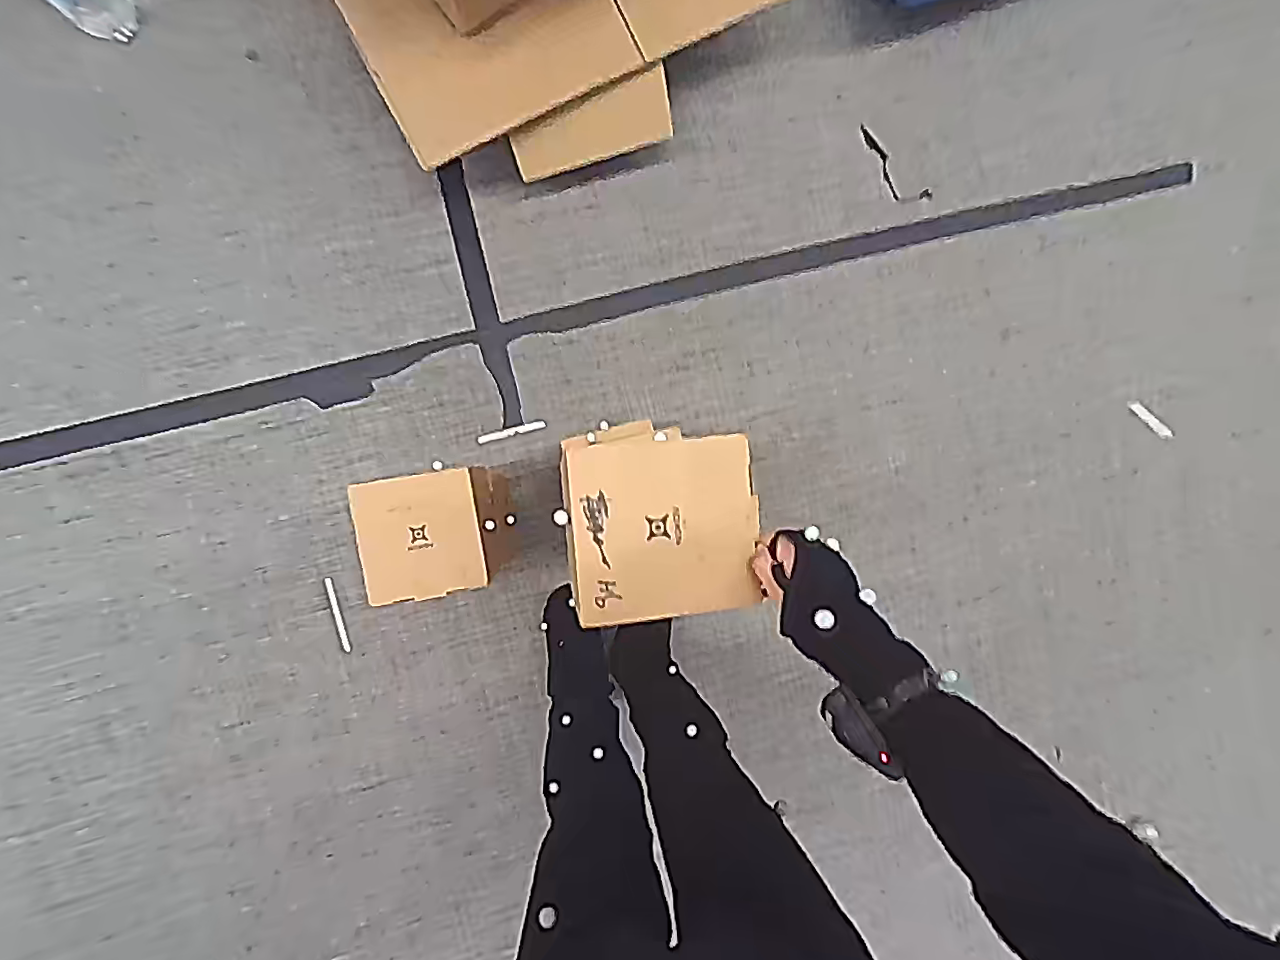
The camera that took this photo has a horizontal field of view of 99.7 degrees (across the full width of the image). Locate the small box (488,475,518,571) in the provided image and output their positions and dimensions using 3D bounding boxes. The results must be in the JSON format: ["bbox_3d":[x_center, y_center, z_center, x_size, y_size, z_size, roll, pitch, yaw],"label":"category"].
[{"bbox_3d":[-0.331,0.082,0.992,0.179,0.176,0.168,-8,93,-6],"label":"small box"}]

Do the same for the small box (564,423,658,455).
[{"bbox_3d":[-0.041,-0.002,1.020,0.168,0.176,0.179,-15,93,-6],"label":"small box"}]

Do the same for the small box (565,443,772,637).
[{"bbox_3d":[0.018,0.051,0.569,0.179,0.176,0.168,-5,90,-10],"label":"small box"}]

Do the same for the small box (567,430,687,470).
[{"bbox_3d":[-0.013,0.020,0.859,0.179,0.176,0.168,-12,94,-7],"label":"small box"}]

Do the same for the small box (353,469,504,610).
[{"bbox_3d":[-0.311,0.081,0.831,0.168,0.176,0.179,-10,92,-8],"label":"small box"}]
